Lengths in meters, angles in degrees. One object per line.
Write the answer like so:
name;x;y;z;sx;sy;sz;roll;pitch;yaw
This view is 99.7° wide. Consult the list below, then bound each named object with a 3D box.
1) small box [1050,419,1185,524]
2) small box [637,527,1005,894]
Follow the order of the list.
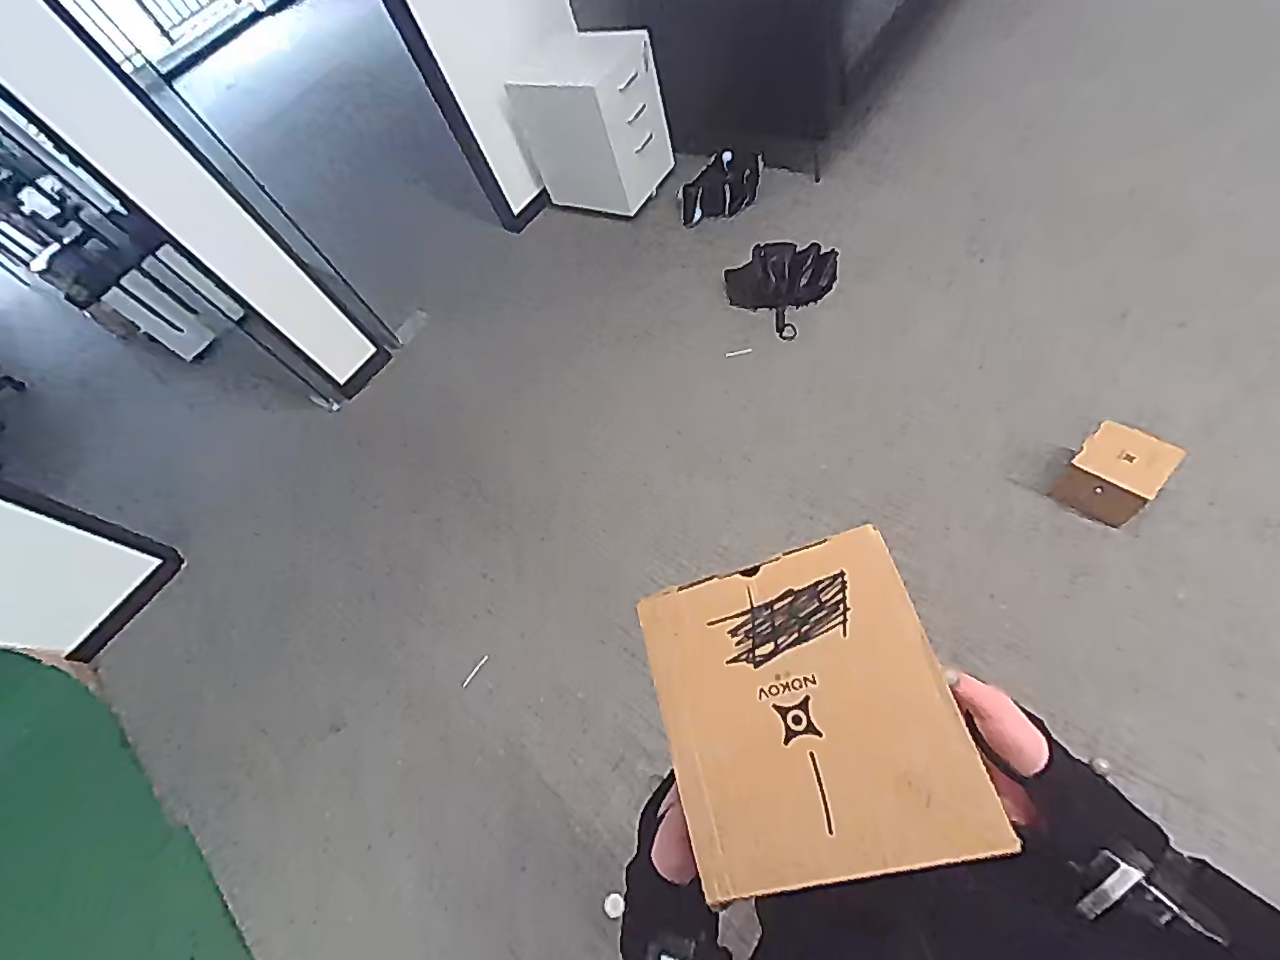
small box;1.199;-0.016;1.376;0.168;0.176;0.179;-46;59;-10
small box;0.117;0.156;0.387;0.168;0.176;0.179;-21;65;16
